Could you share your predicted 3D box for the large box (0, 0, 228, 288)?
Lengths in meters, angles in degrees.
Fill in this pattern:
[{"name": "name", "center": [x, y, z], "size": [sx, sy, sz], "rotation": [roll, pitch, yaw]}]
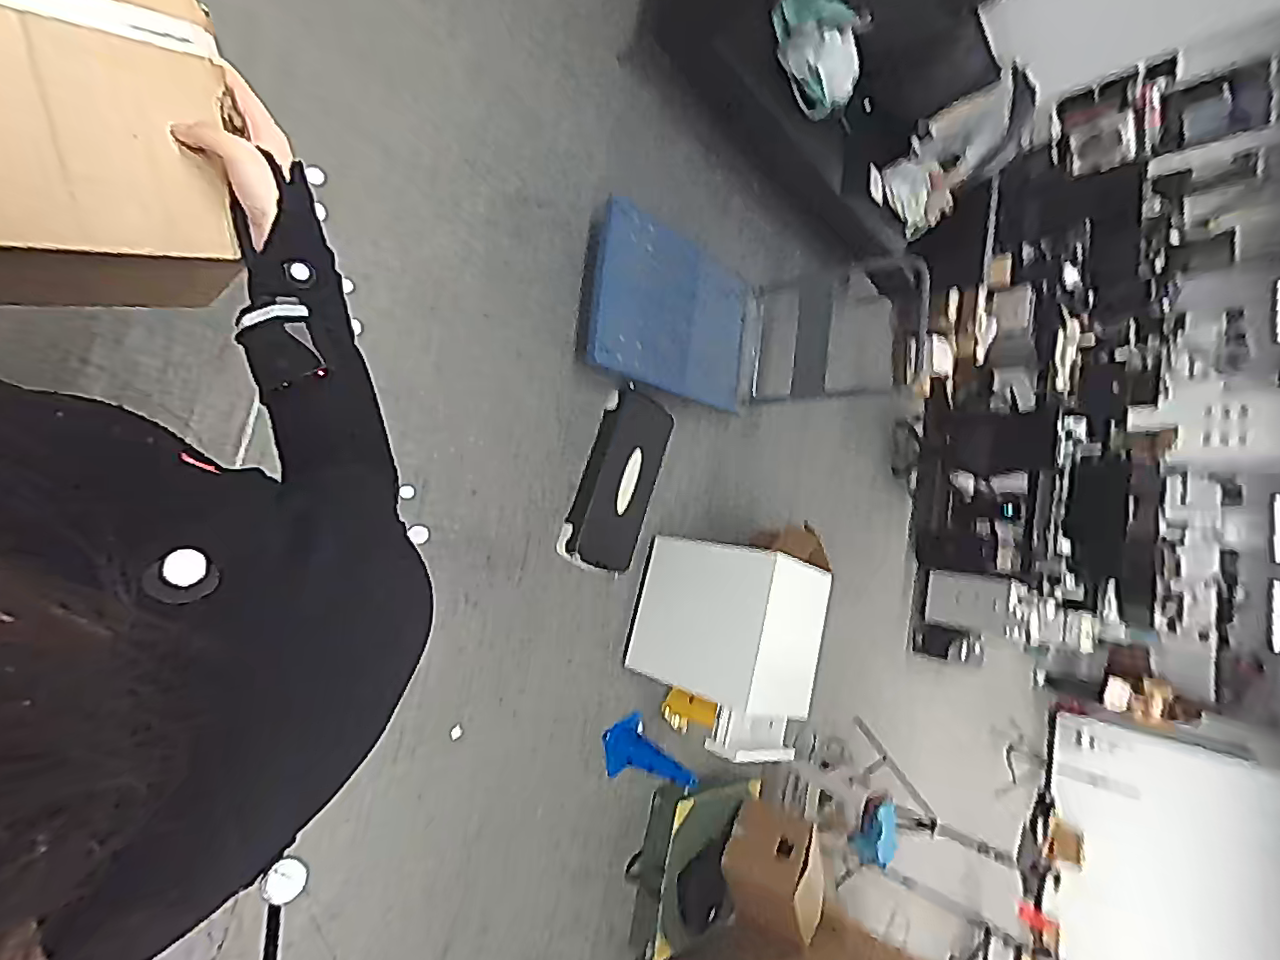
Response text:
[{"name": "large box", "center": [-0.601, -0.317, 0.395], "size": [0.408, 0.320, 0.320], "rotation": [-17, 108, -41]}]
